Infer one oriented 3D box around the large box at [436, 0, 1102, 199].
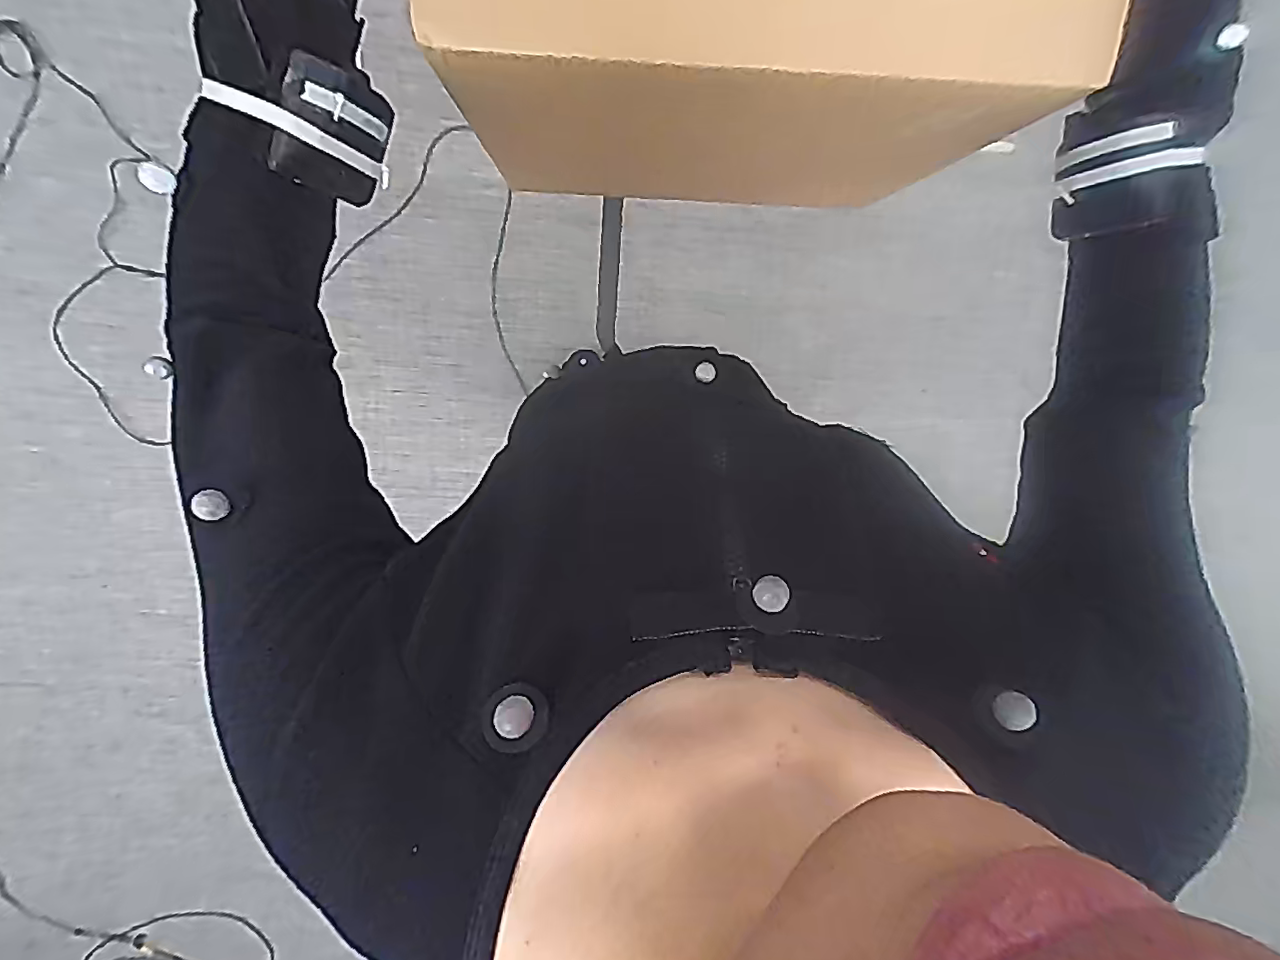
[{"bbox_3d":[0.069,-0.431,0.429,0.408,0.320,0.320,0,105,-4],"label":"large box"}]
